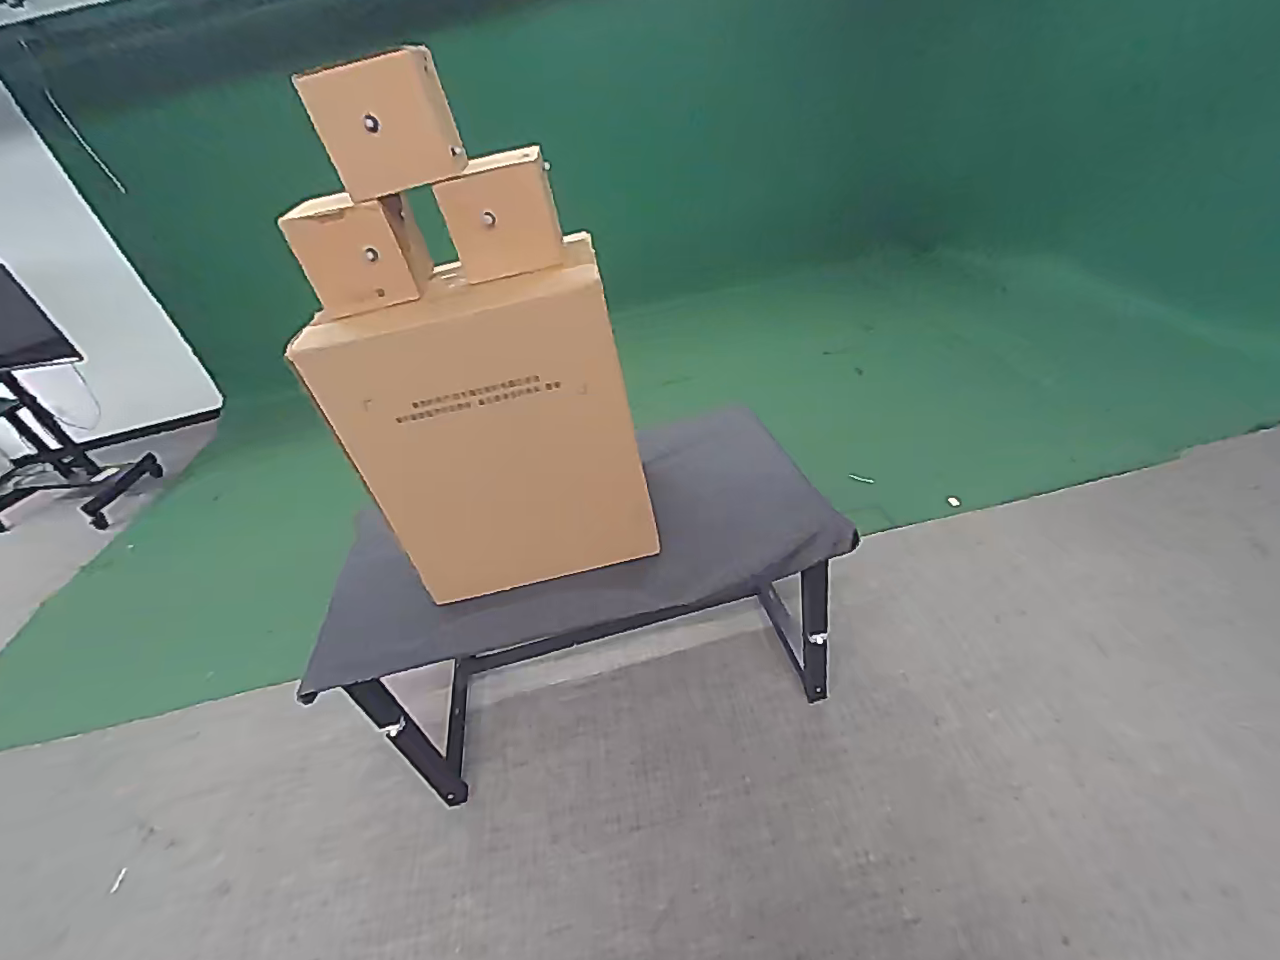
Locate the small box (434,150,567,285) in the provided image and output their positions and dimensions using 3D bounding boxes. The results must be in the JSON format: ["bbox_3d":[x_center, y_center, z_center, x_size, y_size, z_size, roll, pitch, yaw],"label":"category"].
[{"bbox_3d":[-0.239,-0.470,0.974,0.179,0.176,0.168,-13,39,2],"label":"small box"}]

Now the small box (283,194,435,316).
[{"bbox_3d":[-0.489,-0.409,0.975,0.168,0.176,0.179,-13,37,-1],"label":"small box"}]

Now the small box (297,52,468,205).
[{"bbox_3d":[-0.396,-0.565,0.873,0.179,0.176,0.168,-15,38,1],"label":"small box"}]
